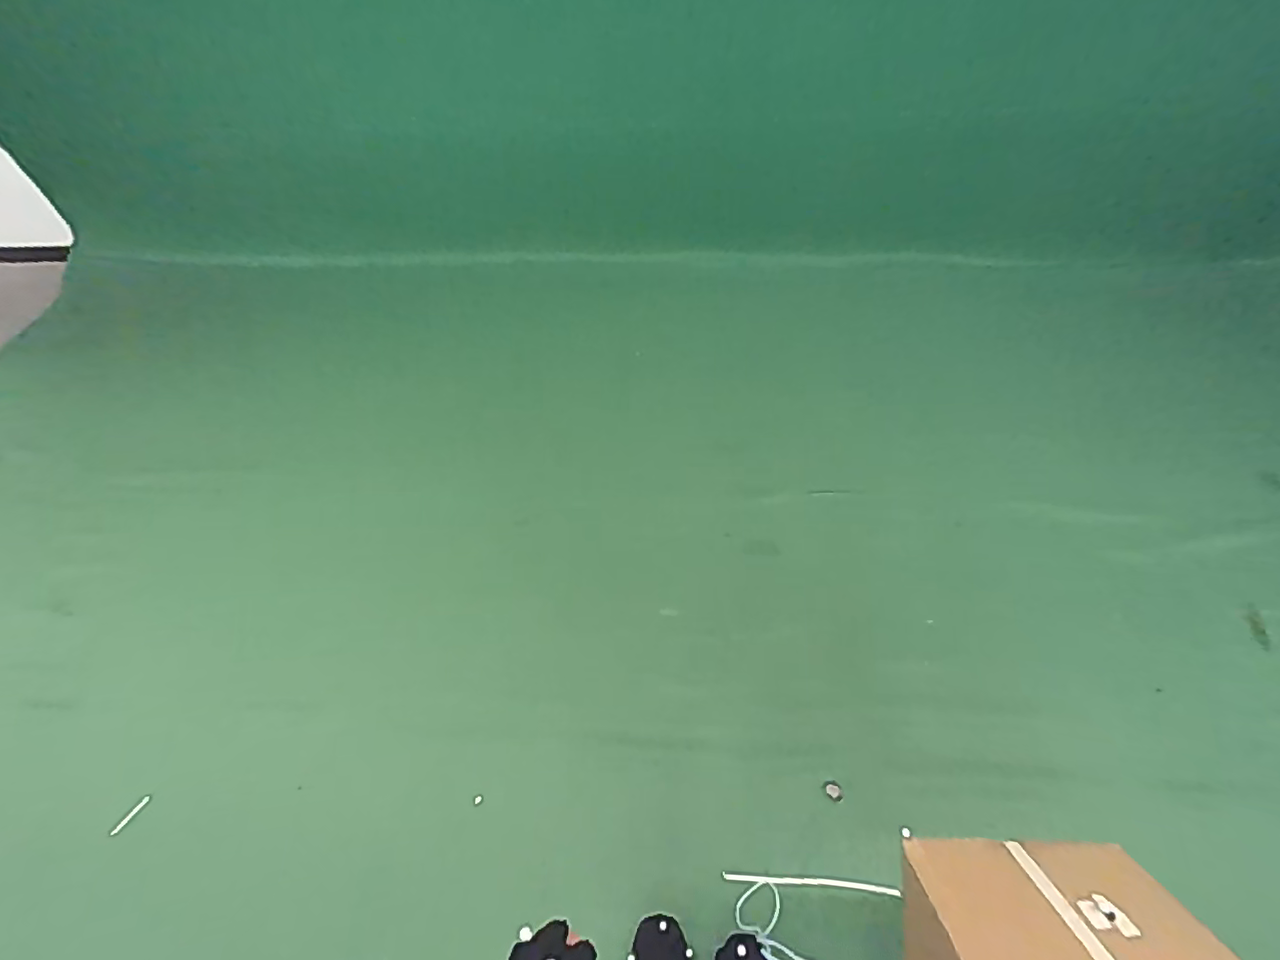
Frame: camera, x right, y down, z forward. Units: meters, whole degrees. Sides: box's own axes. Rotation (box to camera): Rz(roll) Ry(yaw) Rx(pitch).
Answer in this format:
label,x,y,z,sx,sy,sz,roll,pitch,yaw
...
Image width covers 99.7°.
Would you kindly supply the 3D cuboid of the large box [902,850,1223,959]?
label,x,y,z,sx,sy,sz,roll,pitch,yaw
large box,0.547,0.727,0.630,0.320,0.408,0.320,-2,92,6
